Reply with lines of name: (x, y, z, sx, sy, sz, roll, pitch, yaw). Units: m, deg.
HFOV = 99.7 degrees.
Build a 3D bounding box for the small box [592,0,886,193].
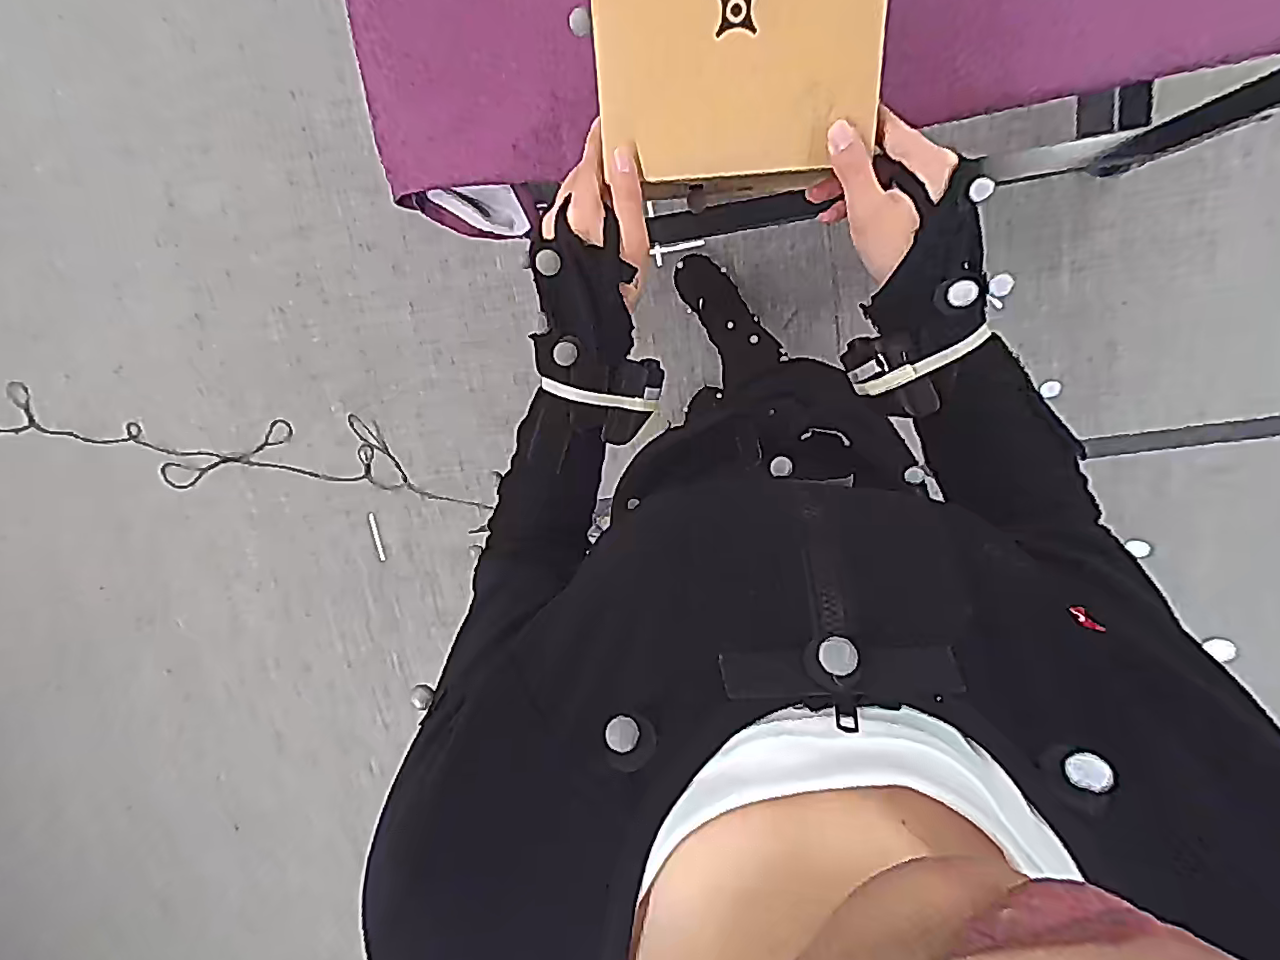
small box: (0.060, -0.303, 0.372, 0.168, 0.176, 0.179, -2, 112, 5)
